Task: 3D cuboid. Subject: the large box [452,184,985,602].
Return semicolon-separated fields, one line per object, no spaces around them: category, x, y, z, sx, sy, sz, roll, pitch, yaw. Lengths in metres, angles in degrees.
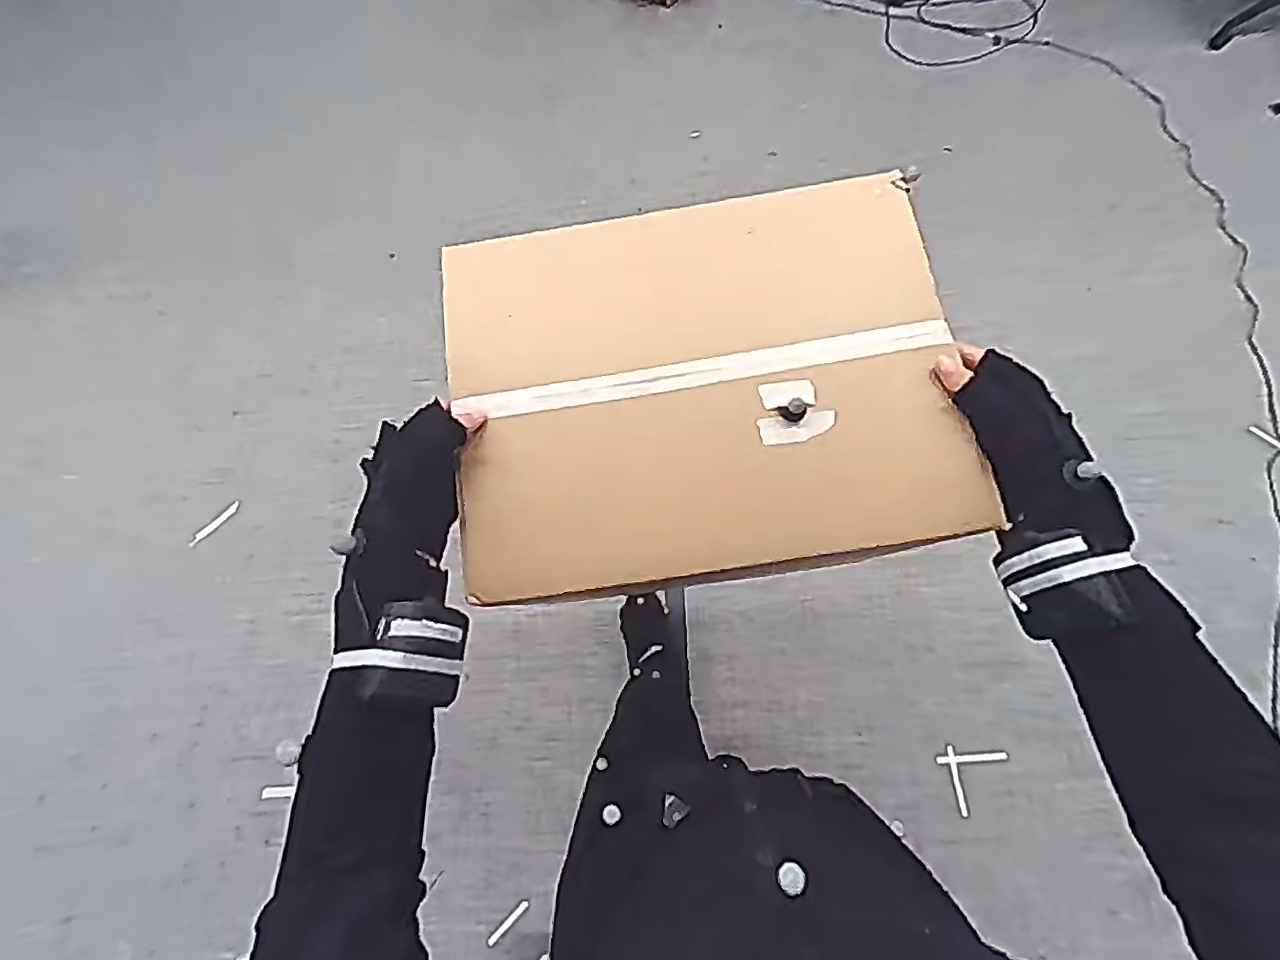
large box;0.055;-0.052;0.595;0.408;0.320;0.320;-9;77;1
